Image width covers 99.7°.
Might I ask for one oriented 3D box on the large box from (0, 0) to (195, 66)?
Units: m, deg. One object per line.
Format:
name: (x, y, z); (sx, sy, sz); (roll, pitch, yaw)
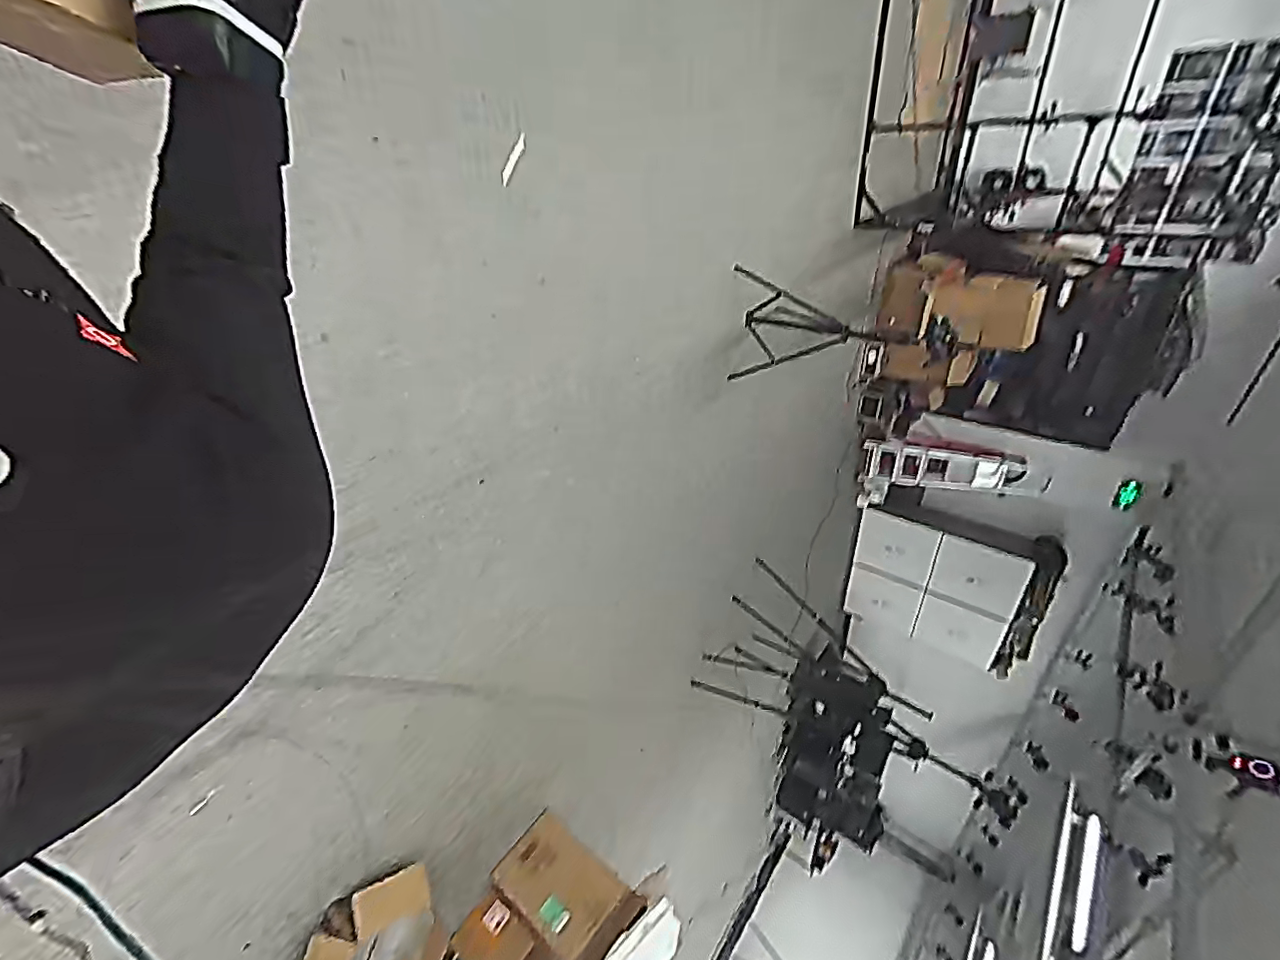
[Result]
large box: (-0.520, -0.501, 0.277); (0.408, 0.320, 0.320); (-3, 114, -56)
